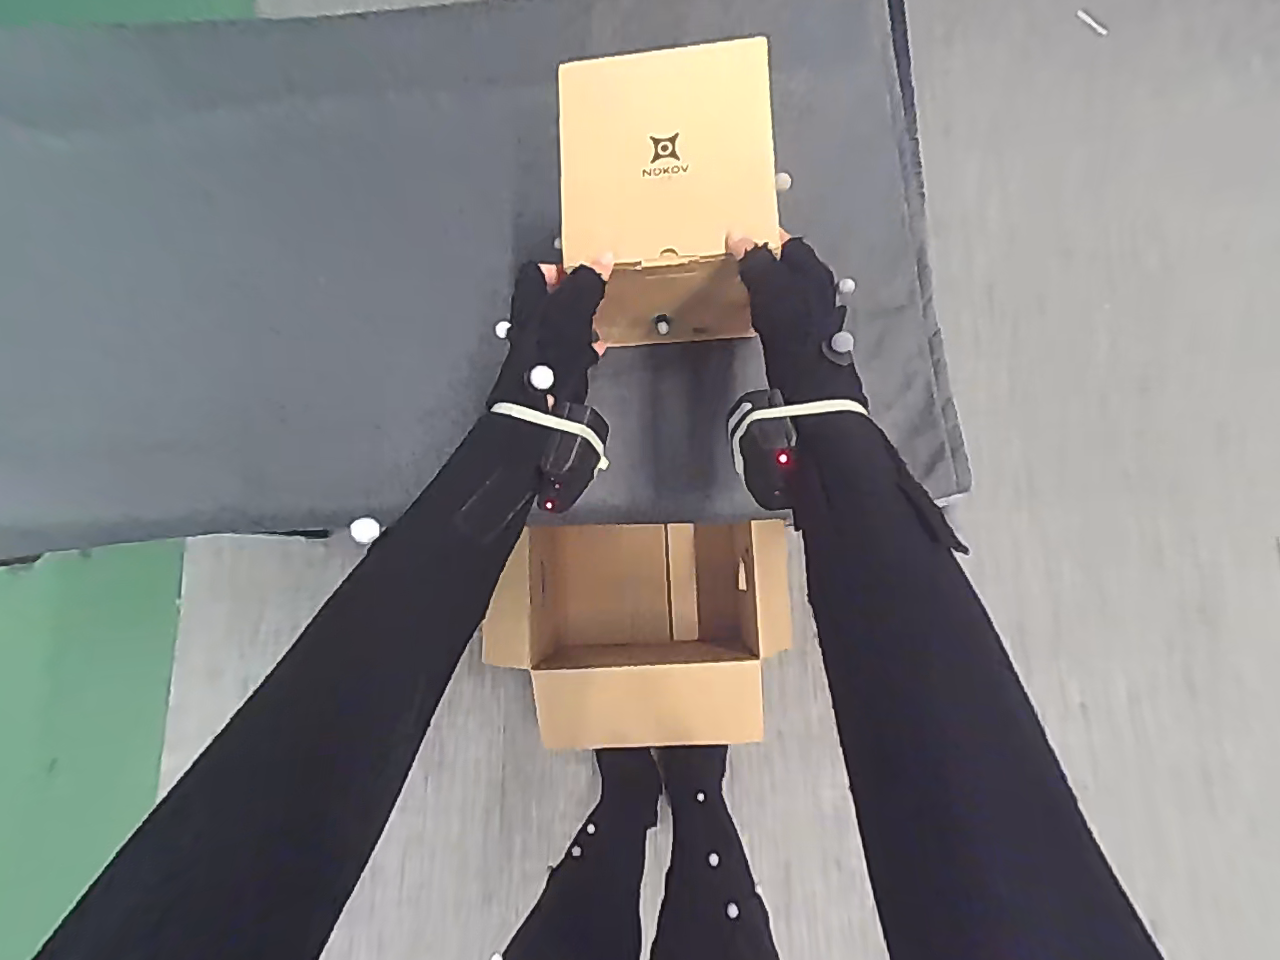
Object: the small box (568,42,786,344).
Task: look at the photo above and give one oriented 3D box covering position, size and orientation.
[{"bbox_3d":[0.032,-0.241,0.493,0.168,0.176,0.179,-3,84,6],"label":"small box"}]
